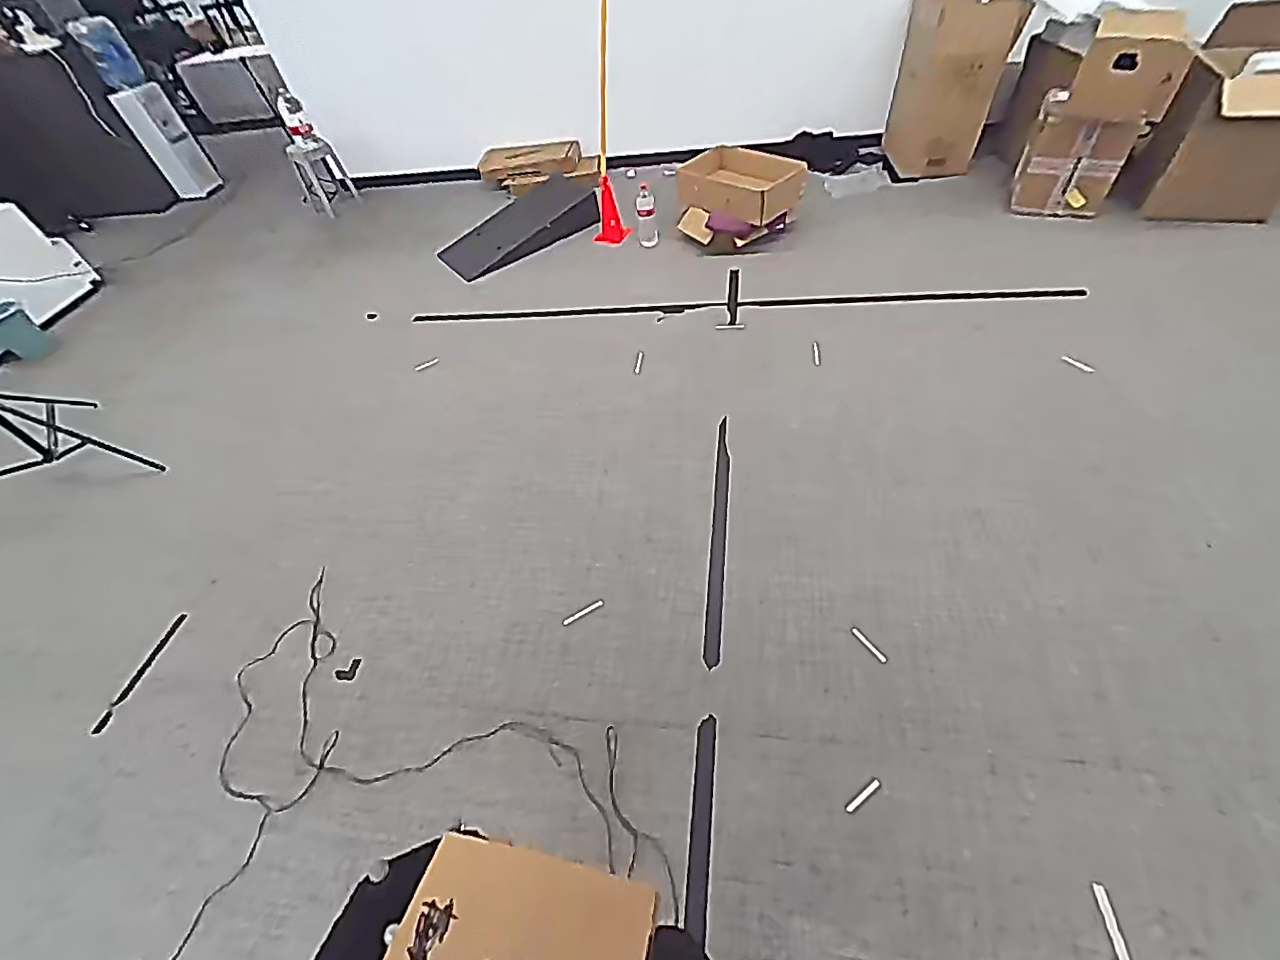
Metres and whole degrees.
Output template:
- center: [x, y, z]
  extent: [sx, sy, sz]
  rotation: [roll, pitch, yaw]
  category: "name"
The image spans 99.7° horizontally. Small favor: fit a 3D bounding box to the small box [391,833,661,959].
- center: [-0.091, 0.407, 0.397]
  extent: [0.179, 0.176, 0.168]
  rotation: [10, 31, 8]
  category: "small box"
